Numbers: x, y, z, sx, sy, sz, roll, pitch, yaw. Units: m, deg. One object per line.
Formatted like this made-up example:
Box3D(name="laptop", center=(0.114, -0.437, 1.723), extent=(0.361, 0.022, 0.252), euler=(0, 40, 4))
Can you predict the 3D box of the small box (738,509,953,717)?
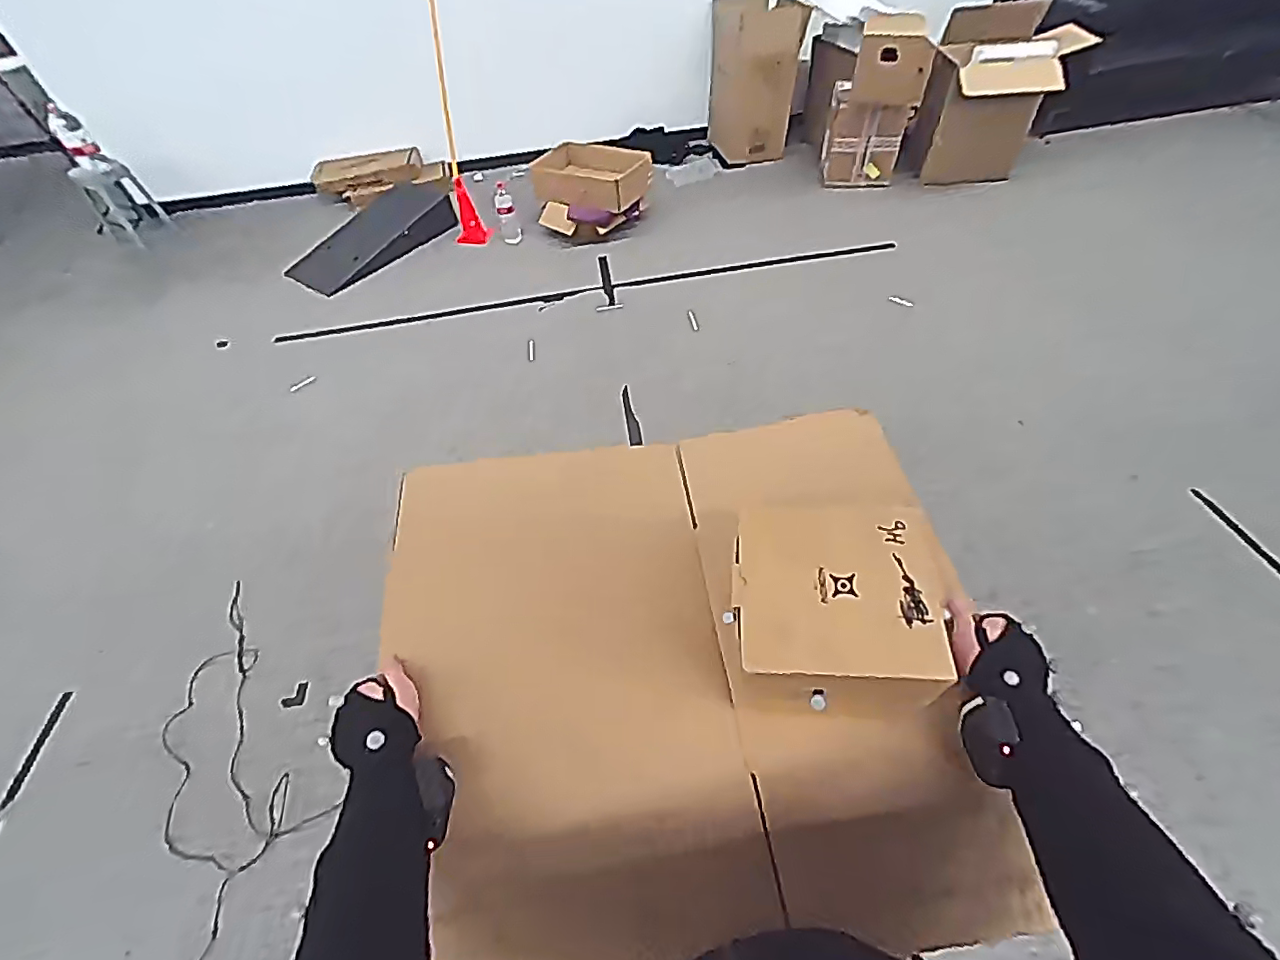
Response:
Box3D(name="small box", center=(0.197, 0.145, 0.571), extent=(0.179, 0.176, 0.168), euler=(-2, 55, 11))
